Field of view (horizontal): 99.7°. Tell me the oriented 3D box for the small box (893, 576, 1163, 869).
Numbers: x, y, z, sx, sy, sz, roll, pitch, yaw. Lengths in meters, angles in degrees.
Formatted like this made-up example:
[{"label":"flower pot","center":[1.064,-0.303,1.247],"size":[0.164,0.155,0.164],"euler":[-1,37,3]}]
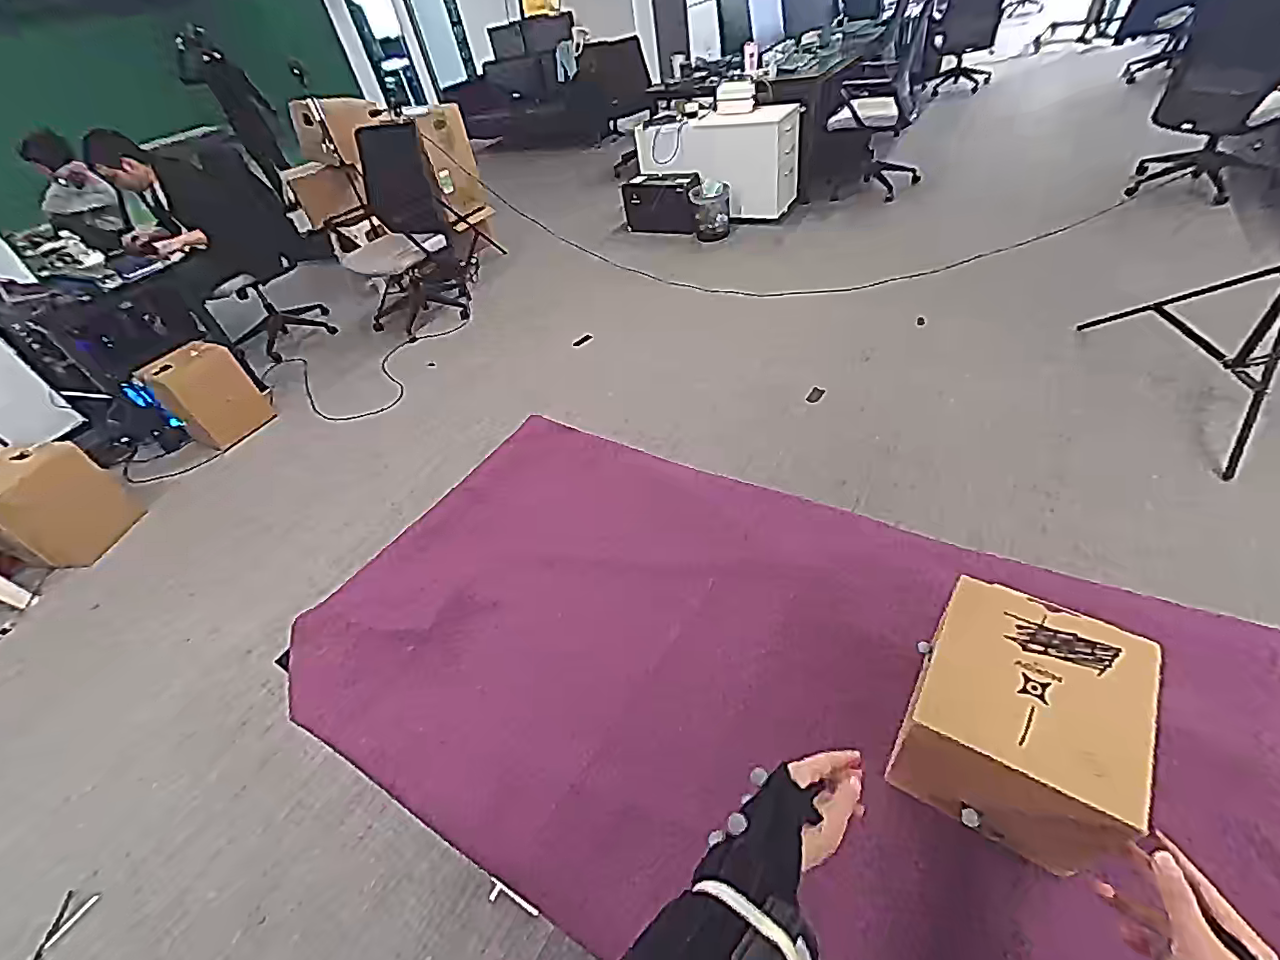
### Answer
[{"label":"small box","center":[0.368,0.235,0.536],"size":[0.168,0.176,0.179],"euler":[20,53,30]}]
